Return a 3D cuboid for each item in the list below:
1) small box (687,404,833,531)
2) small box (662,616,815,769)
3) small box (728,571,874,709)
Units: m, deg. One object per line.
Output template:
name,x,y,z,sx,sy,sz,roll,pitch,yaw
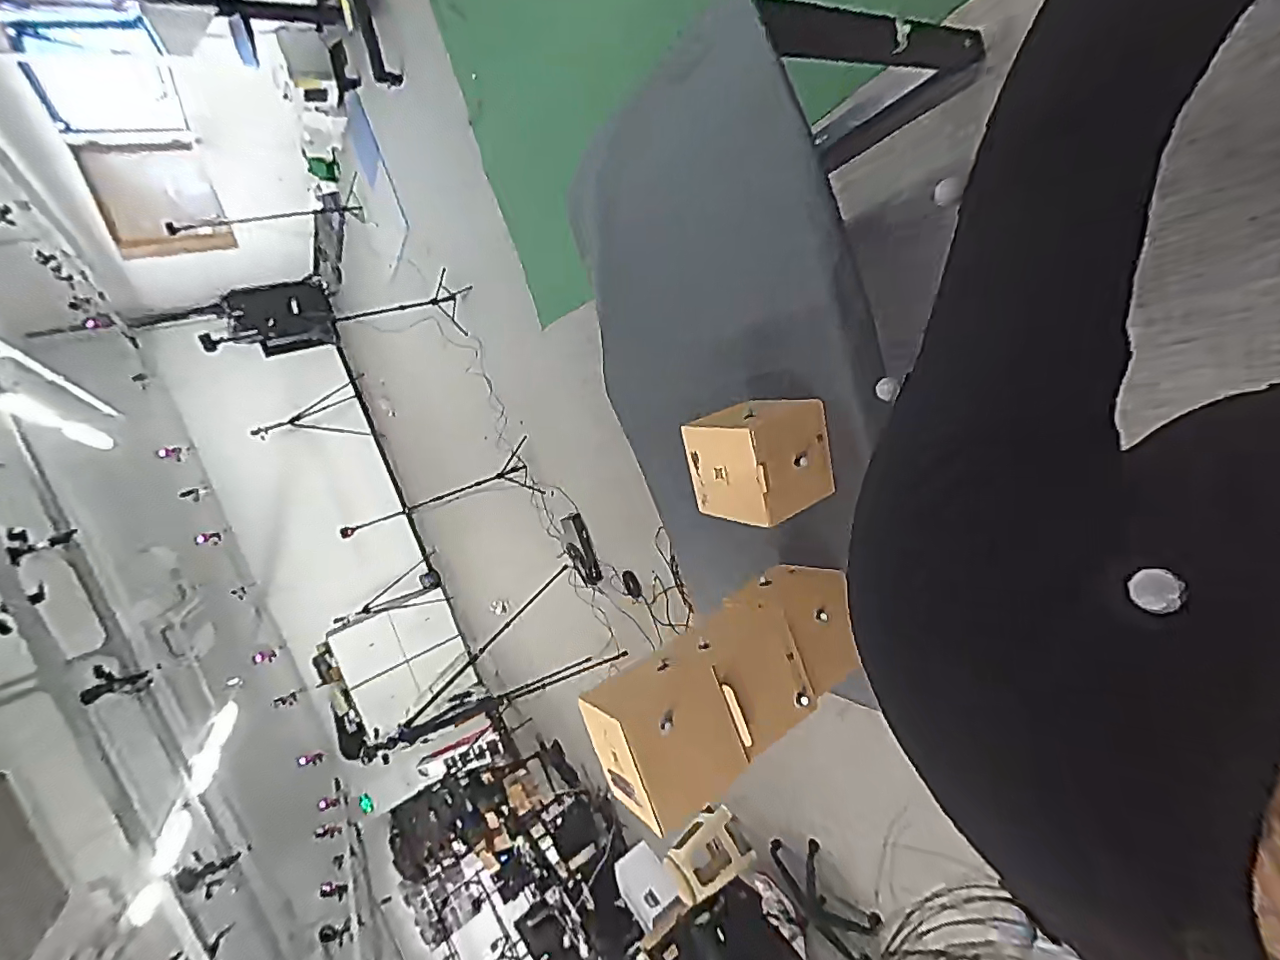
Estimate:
small box,0.213,-0.030,0.930,0.179,0.176,0.168,9,118,56
small box,0.172,0.346,0.923,0.179,0.176,0.168,-16,95,62
small box,0.300,0.282,1.005,0.168,0.176,0.179,-8,103,60
